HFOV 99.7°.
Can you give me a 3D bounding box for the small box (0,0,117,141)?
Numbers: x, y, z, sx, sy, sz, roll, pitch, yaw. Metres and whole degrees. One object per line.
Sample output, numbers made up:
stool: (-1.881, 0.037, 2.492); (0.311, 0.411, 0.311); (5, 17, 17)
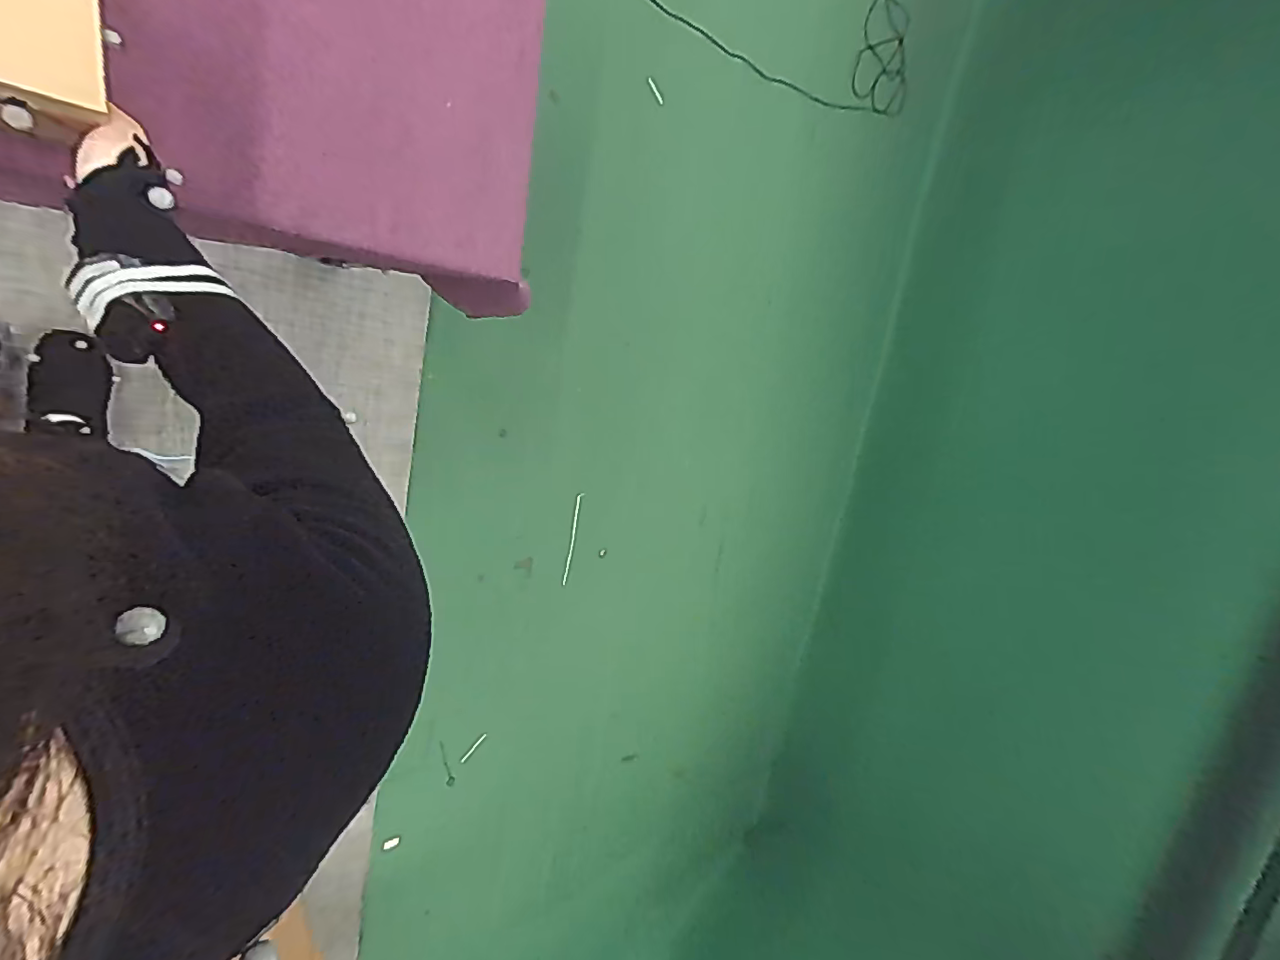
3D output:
small box: (-0.492, -0.358, 0.372); (0.179, 0.176, 0.168); (-6, 108, -45)
